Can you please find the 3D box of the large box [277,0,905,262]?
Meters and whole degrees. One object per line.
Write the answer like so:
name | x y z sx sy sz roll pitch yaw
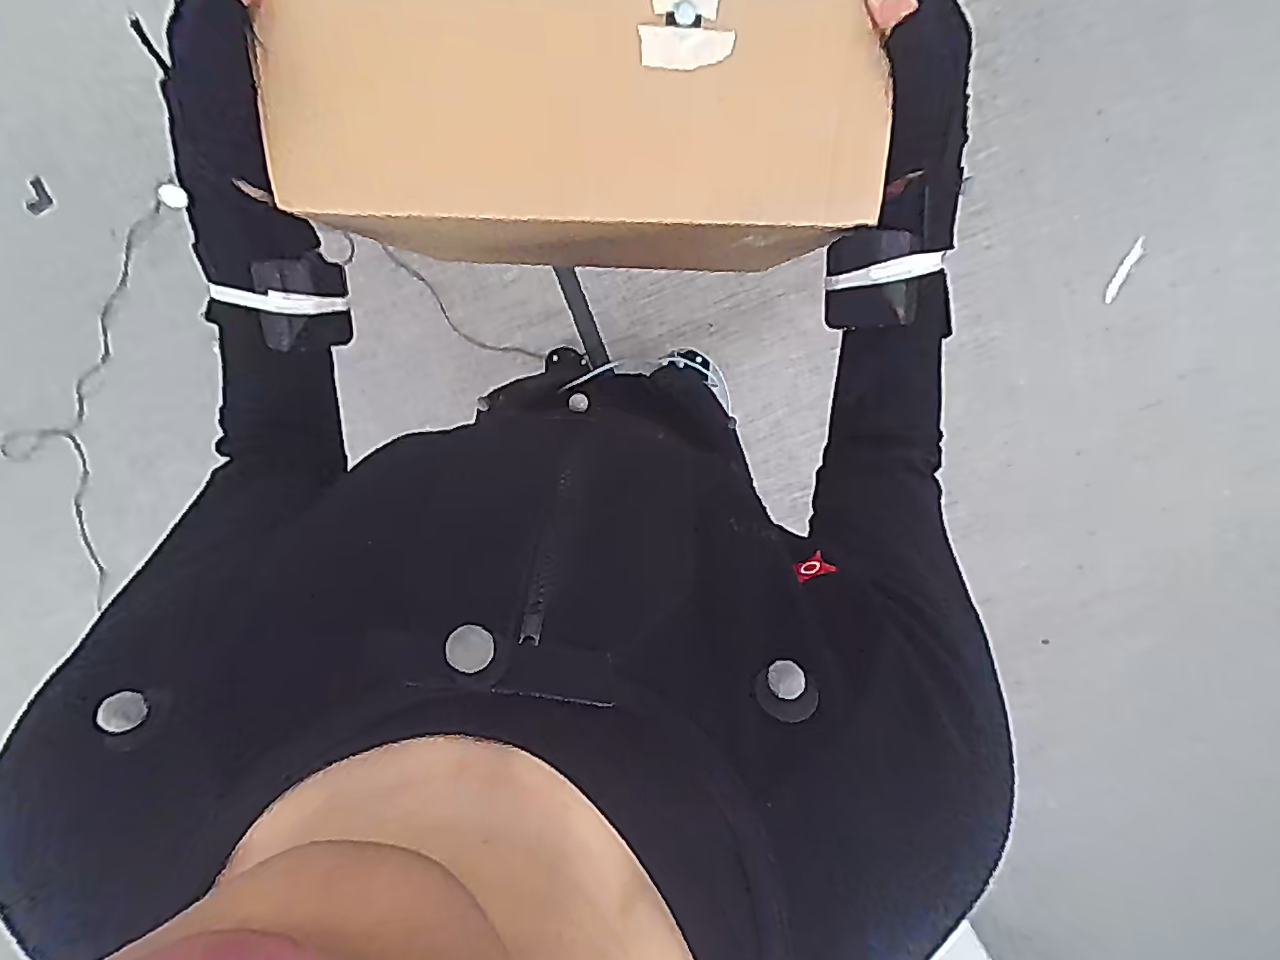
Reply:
large box | -0.032 -0.374 0.475 0.408 0.320 0.320 1 107 -2
